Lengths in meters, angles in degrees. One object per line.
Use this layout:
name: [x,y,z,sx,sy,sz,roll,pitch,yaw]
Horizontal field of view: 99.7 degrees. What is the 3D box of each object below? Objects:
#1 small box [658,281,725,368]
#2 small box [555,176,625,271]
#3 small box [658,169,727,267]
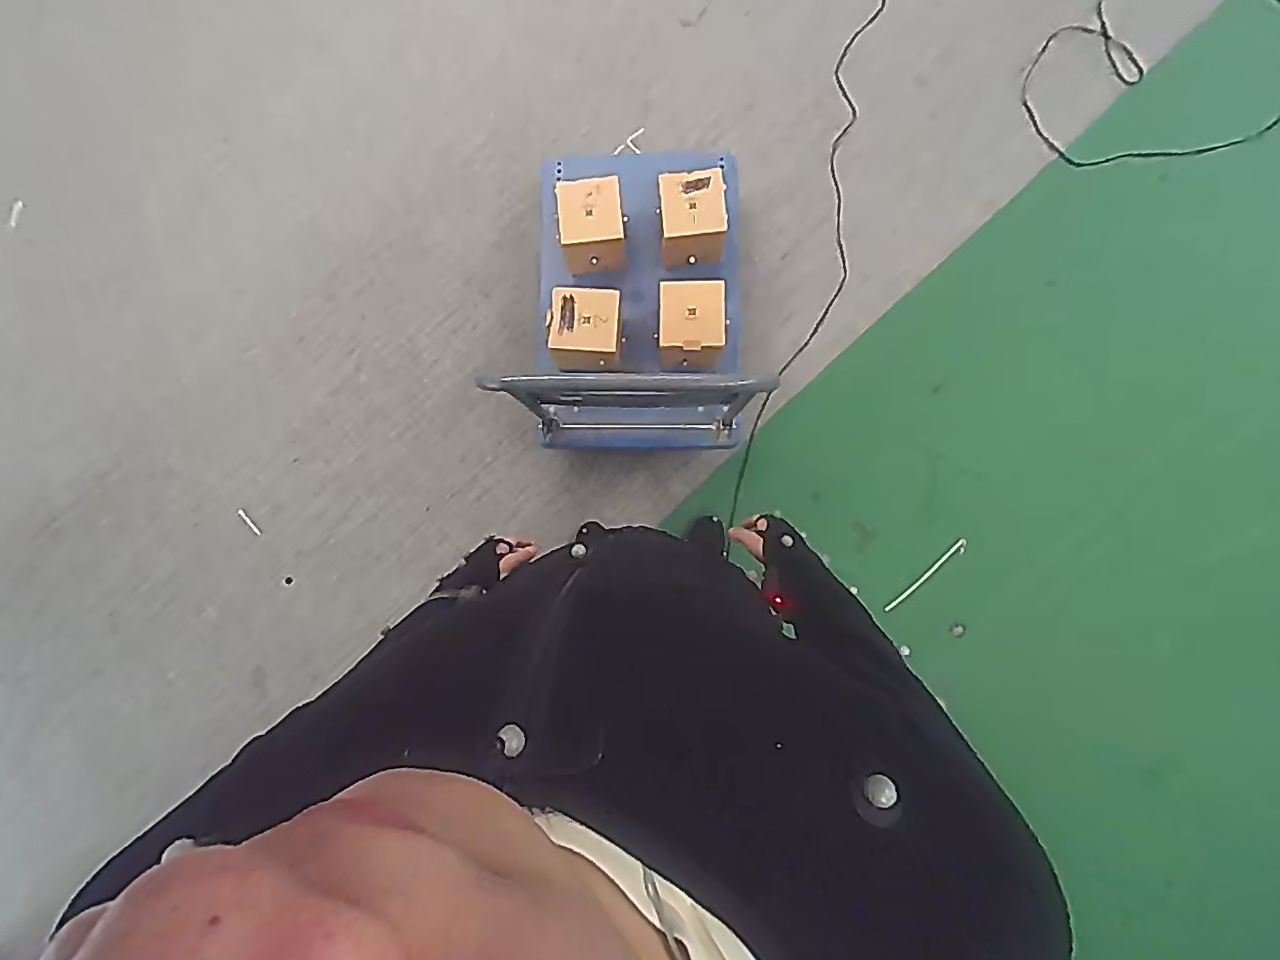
small box: [0.133,-0.410,1.442,0.168,0.176,0.179,0,85,2]
small box: [-0.131,-0.690,1.477,0.168,0.176,0.179,-5,84,1]
small box: [0.137,-0.705,1.468,0.168,0.176,0.179,-5,85,2]
